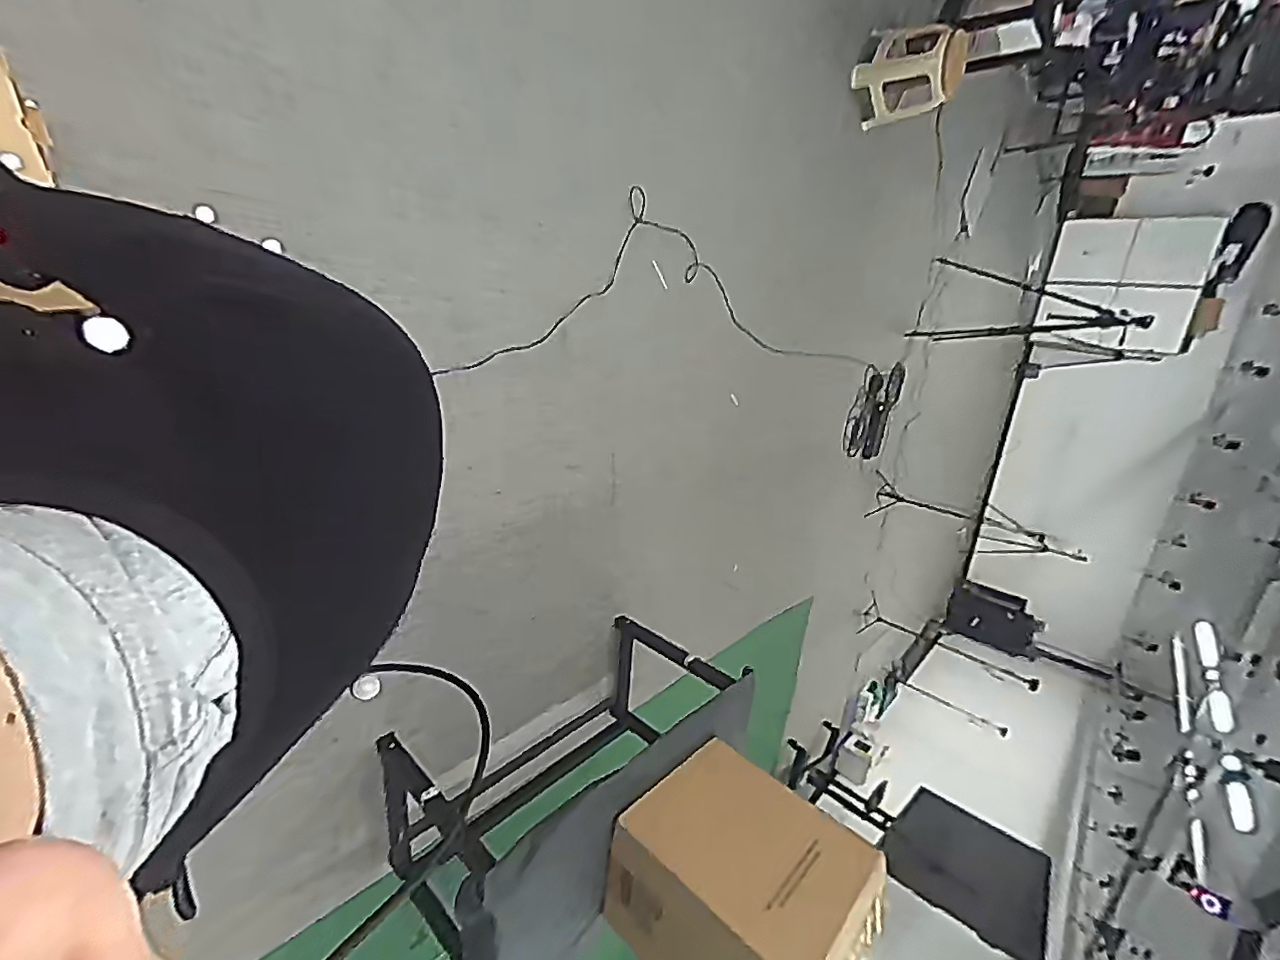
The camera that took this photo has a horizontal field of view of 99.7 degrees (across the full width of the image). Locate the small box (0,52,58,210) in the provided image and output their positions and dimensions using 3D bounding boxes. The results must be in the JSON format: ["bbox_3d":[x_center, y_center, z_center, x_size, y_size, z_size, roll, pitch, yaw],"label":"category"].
[{"bbox_3d":[-0.868,-0.429,0.658,0.179,0.176,0.168,-24,120,-41],"label":"small box"}]
